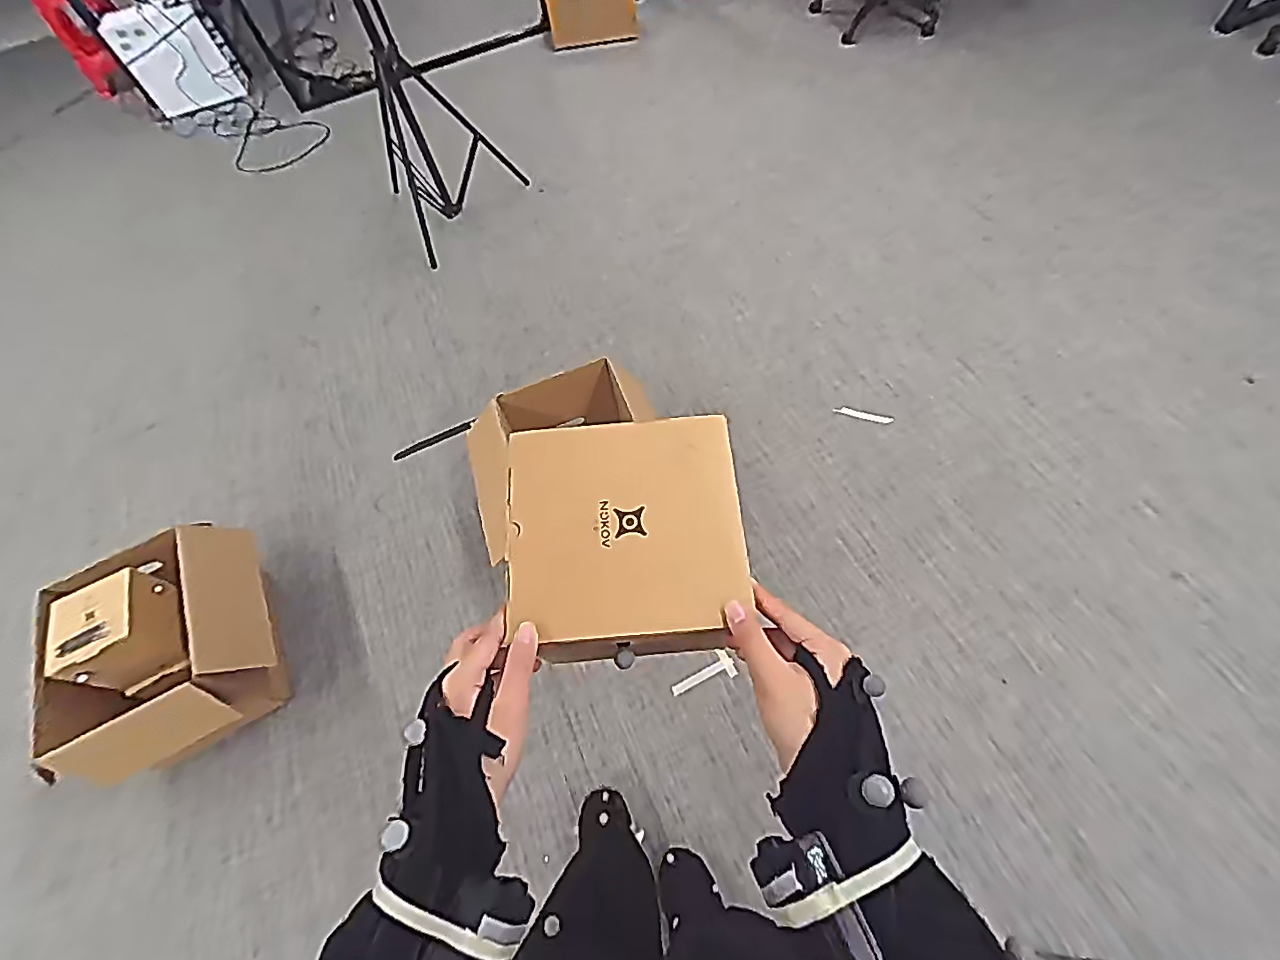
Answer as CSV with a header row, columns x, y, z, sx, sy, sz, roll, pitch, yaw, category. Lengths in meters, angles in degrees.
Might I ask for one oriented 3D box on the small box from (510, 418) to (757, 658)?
x,y,z,sx,sy,sz,roll,pitch,yaw,category
-0.008,0.061,0.480,0.179,0.176,0.168,-5,67,0,small box
